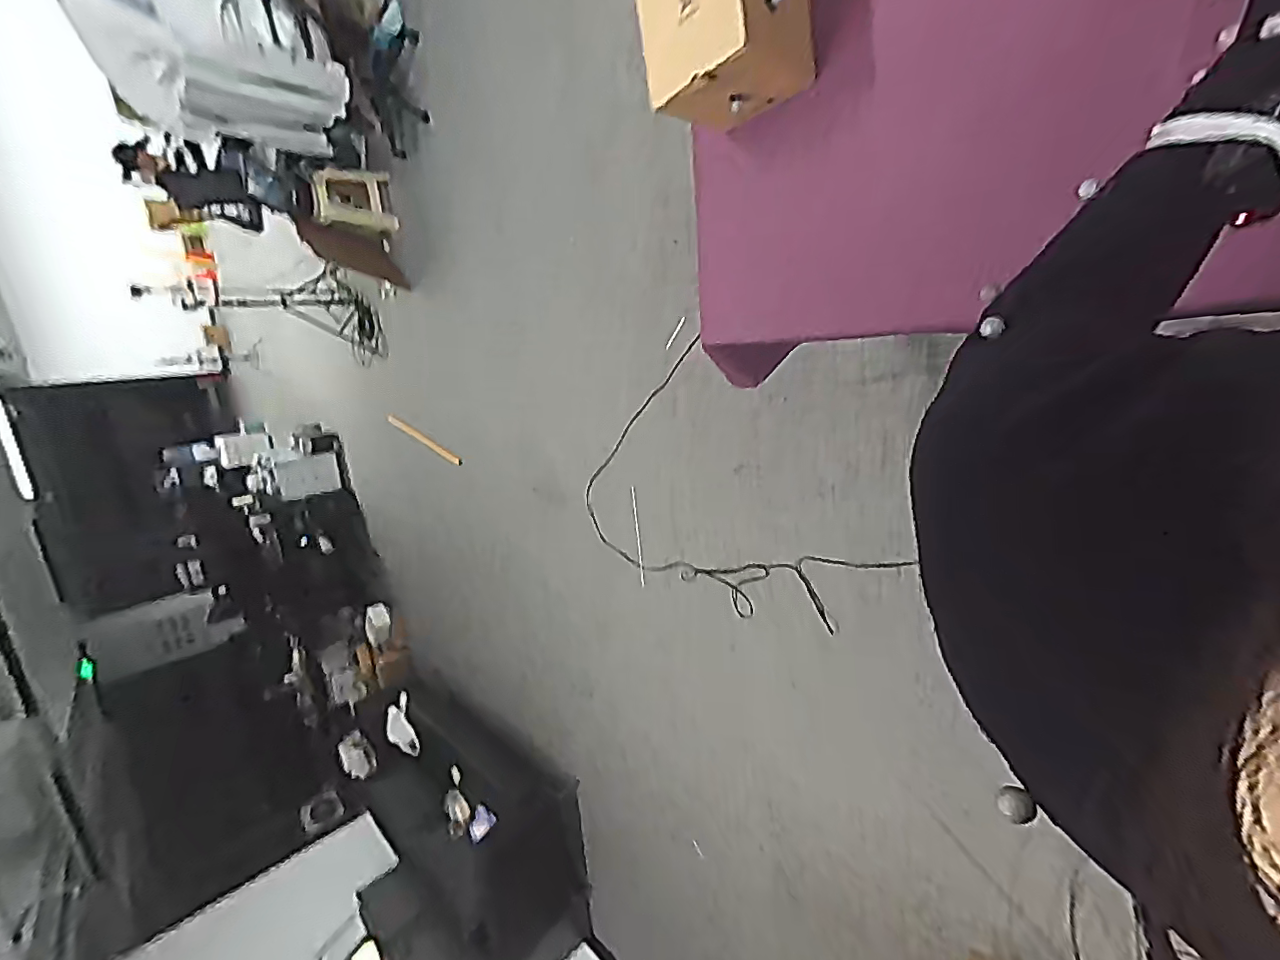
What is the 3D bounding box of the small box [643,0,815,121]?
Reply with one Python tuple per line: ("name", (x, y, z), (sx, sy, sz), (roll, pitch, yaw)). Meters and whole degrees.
("small box", (0.126, -0.627, 0.748), (0.168, 0.176, 0.179), (3, 106, 46))
